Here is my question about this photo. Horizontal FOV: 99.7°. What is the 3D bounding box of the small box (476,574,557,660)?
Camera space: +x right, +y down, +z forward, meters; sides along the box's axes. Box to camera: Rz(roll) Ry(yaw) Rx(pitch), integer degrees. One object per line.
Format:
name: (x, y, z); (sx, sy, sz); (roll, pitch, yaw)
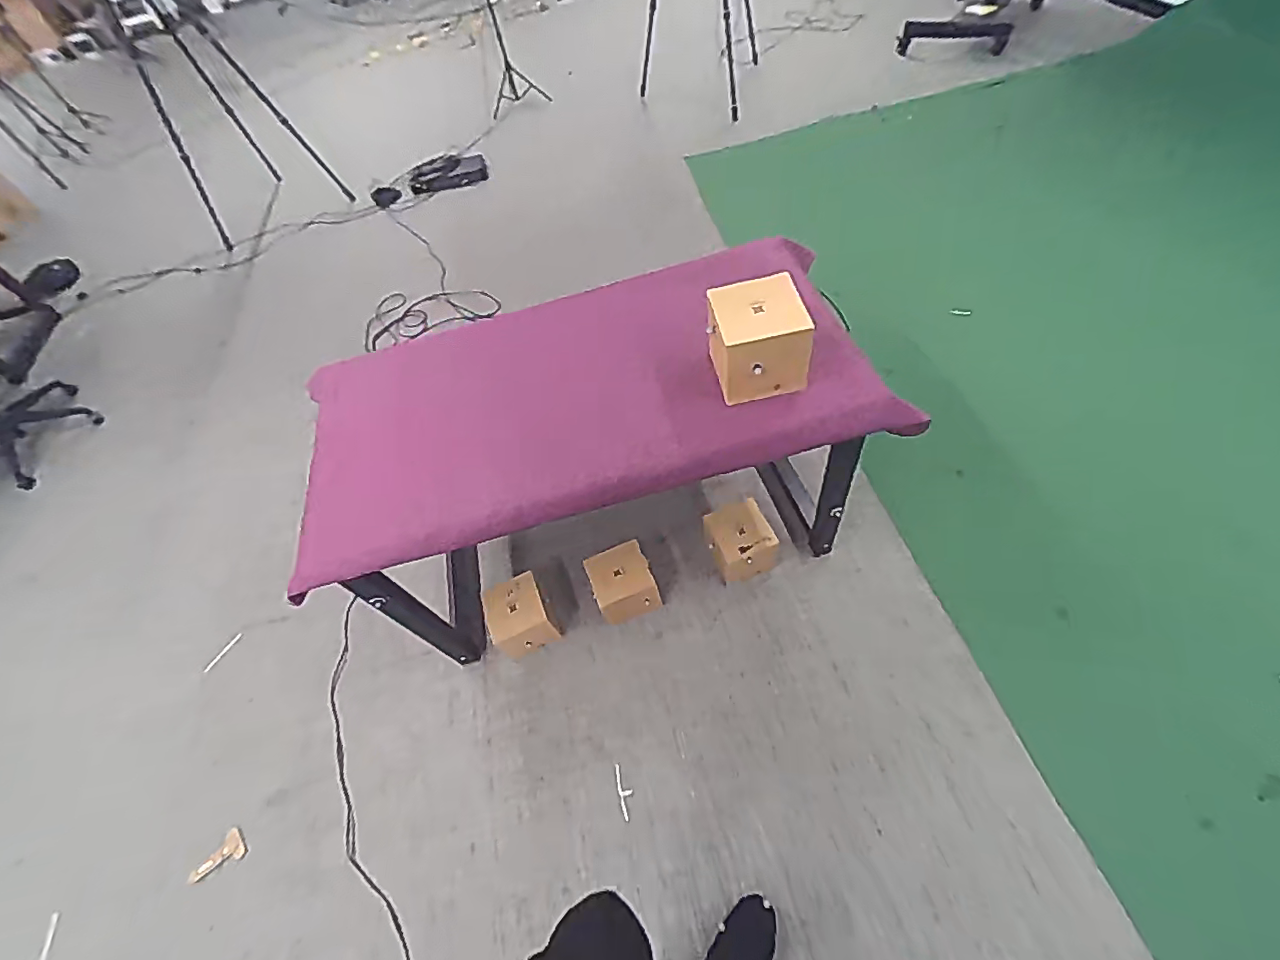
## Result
small box: (-0.361, 0.415, 1.600); (0.168, 0.176, 0.179); (-23, 55, -7)

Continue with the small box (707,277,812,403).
small box: (0.236, -0.272, 1.087); (0.168, 0.176, 0.179); (-11, 53, 3)

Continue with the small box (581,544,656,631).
small box: (-0.058, 0.323, 1.615); (0.179, 0.176, 0.168); (-22, 54, -5)

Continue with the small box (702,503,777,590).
small box: (0.296, 0.204, 1.637); (0.168, 0.176, 0.179); (-21, 54, -6)
